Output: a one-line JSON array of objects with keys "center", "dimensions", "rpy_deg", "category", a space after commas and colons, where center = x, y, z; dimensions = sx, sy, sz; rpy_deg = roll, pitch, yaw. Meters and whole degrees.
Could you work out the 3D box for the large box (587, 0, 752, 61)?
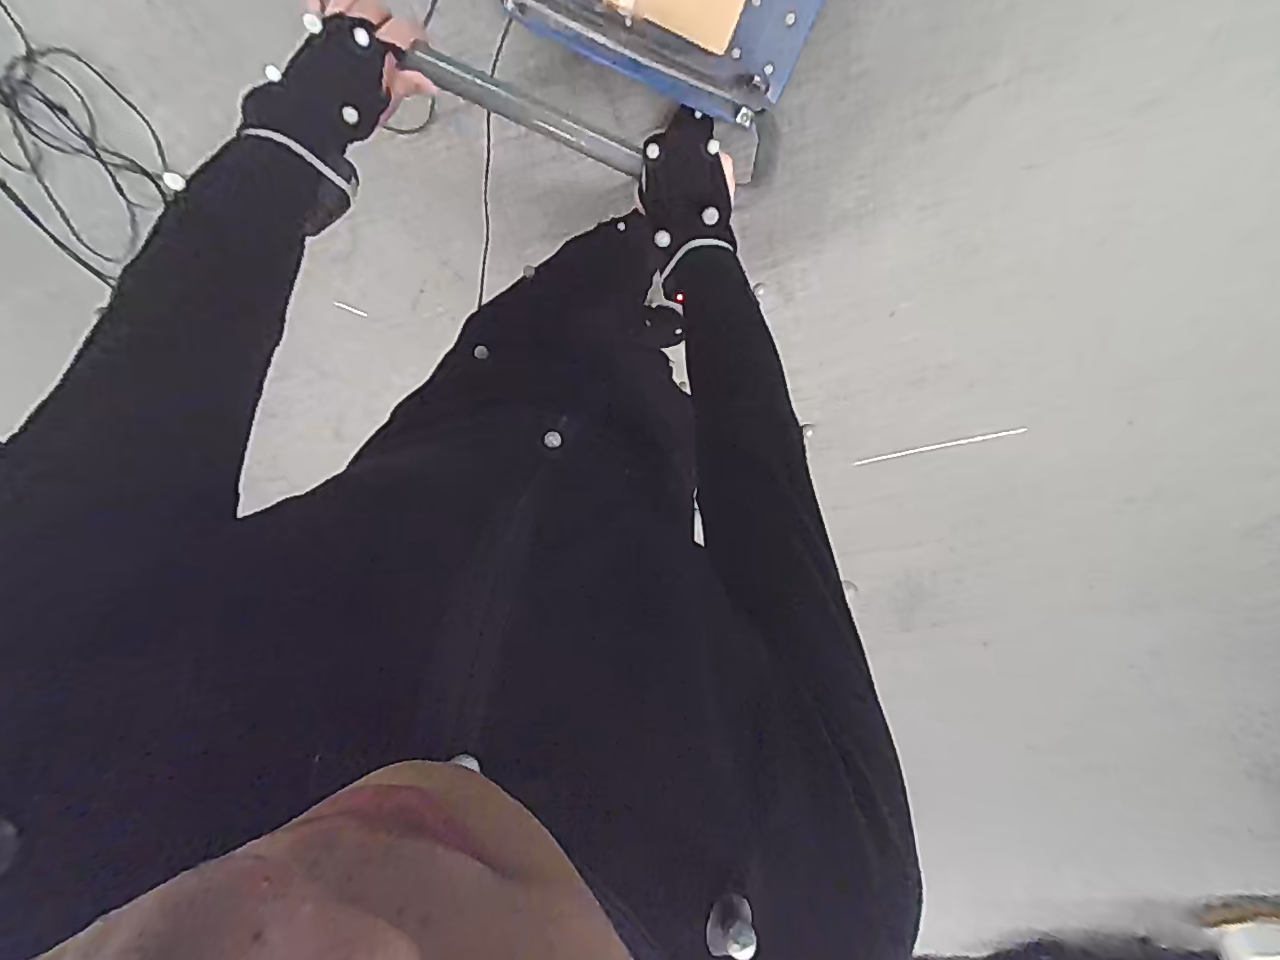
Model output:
[{"center": [0.072, -0.901, 0.774], "dimensions": [0.320, 0.320, 0.408], "rpy_deg": [20, 126, -7], "category": "large box"}]
